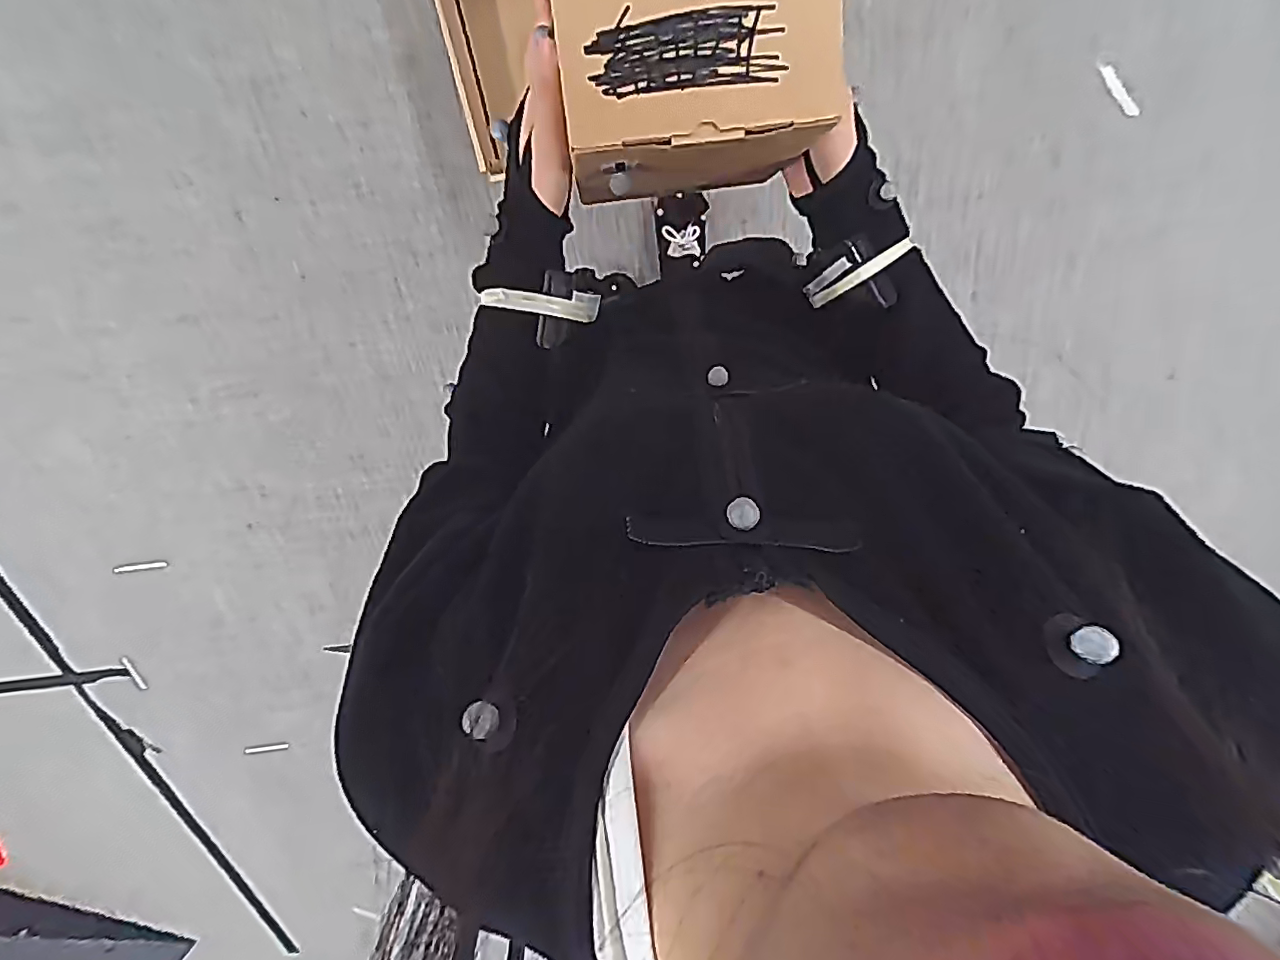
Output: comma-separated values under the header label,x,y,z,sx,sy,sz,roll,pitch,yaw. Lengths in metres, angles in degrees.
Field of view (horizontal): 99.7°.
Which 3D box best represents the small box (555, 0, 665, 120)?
label,x,y,z,sx,sy,sz,roll,pitch,yaw
small box,-0.057,-0.831,1.048,0.168,0.176,0.179,-15,116,5
